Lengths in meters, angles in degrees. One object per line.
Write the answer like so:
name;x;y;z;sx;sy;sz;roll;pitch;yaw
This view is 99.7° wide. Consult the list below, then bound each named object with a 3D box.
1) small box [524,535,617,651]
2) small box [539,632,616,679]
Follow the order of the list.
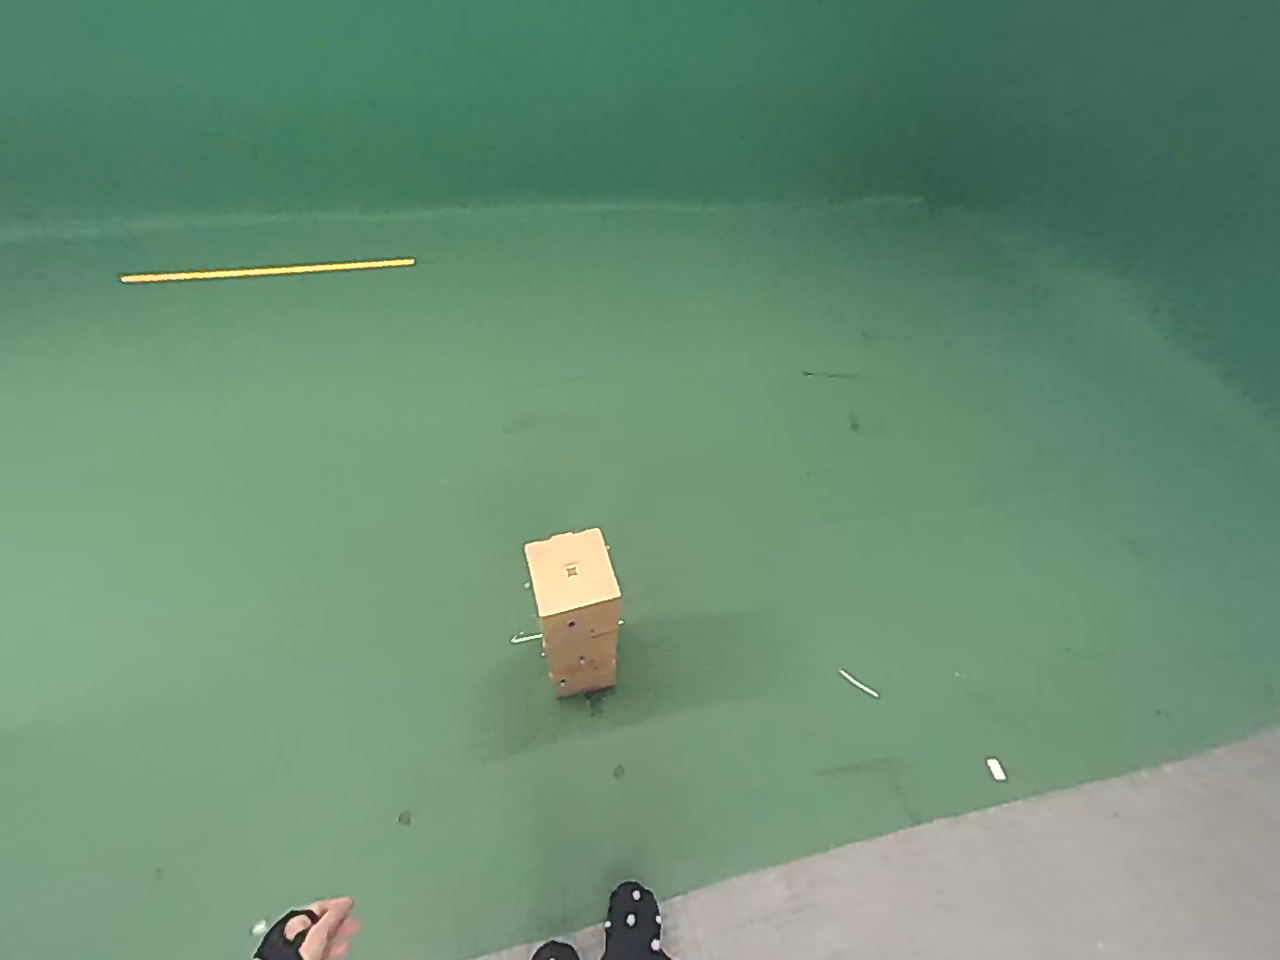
small box;-0.148;0.252;1.175;0.168;0.176;0.179;-12;52;-14
small box;-0.159;0.352;1.302;0.168;0.176;0.179;-10;52;-12
